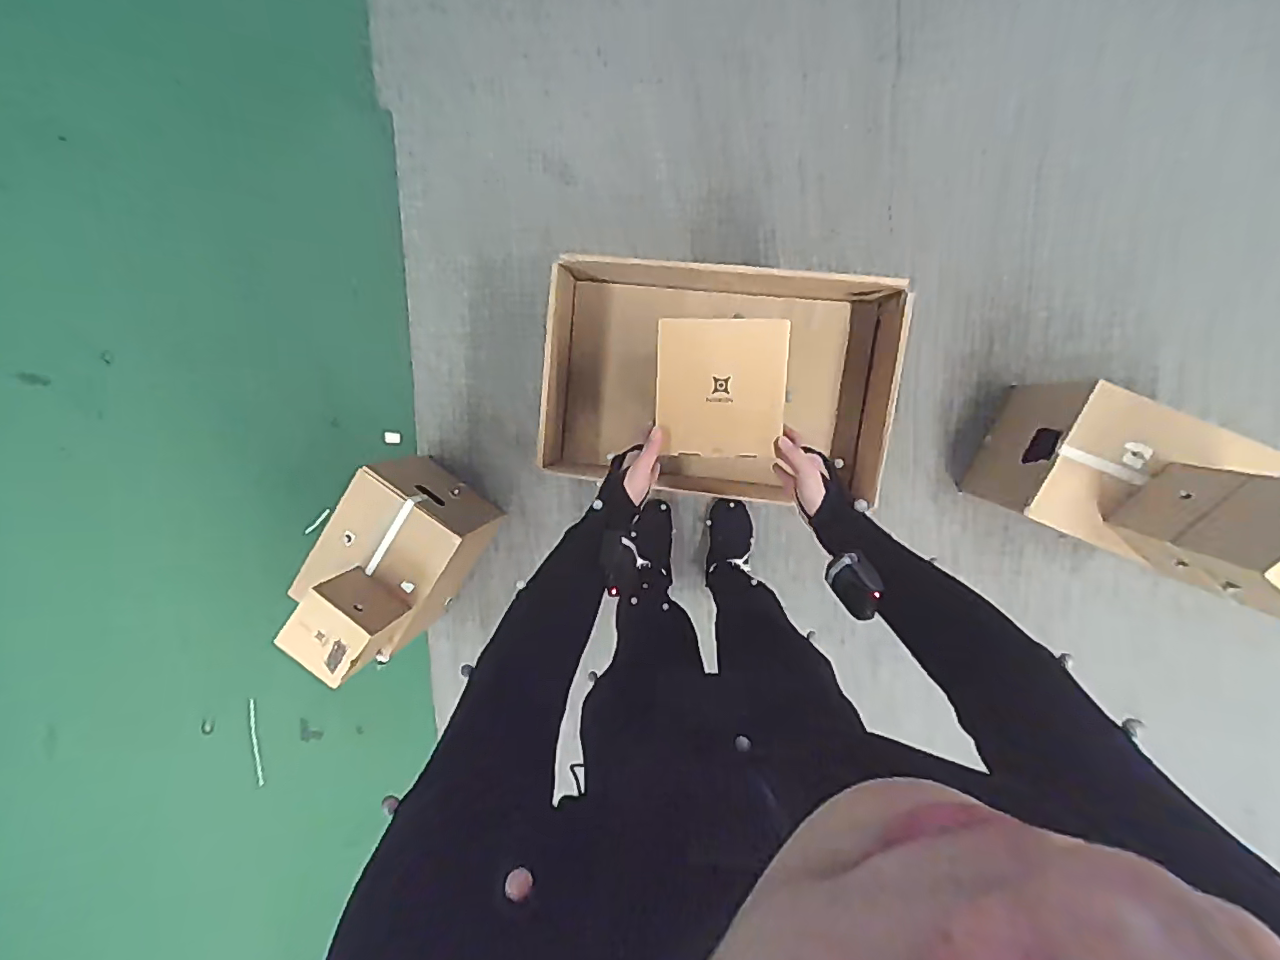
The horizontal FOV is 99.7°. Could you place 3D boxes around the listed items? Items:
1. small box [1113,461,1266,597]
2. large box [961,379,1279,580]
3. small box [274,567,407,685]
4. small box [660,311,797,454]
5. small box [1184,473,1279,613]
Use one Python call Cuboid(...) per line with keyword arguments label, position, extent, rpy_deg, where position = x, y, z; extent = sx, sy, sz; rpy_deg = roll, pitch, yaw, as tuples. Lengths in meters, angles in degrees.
Cuboid(label="small box", position=(1.073, 0.082, 1.024), extent=(0.168, 0.176, 0.179), rpy_deg=(43, 101, 0))
Cuboid(label="large box", position=(1.072, -0.017, 1.260), extent=(0.408, 0.320, 0.320), rpy_deg=(23, 99, 4))
Cuboid(label="small box", position=(-0.684, 0.329, 1.259), extent=(0.179, 0.176, 0.168), rpy_deg=(38, 99, 0))
Cuboid(label="small box", position=(0.115, -0.136, 0.755), extent=(0.168, 0.176, 0.179), rpy_deg=(2, 102, 6))
Cuboid(label="small box", position=(1.056, 0.109, 0.861), extent=(0.168, 0.176, 0.179), rpy_deg=(42, 102, 0))
